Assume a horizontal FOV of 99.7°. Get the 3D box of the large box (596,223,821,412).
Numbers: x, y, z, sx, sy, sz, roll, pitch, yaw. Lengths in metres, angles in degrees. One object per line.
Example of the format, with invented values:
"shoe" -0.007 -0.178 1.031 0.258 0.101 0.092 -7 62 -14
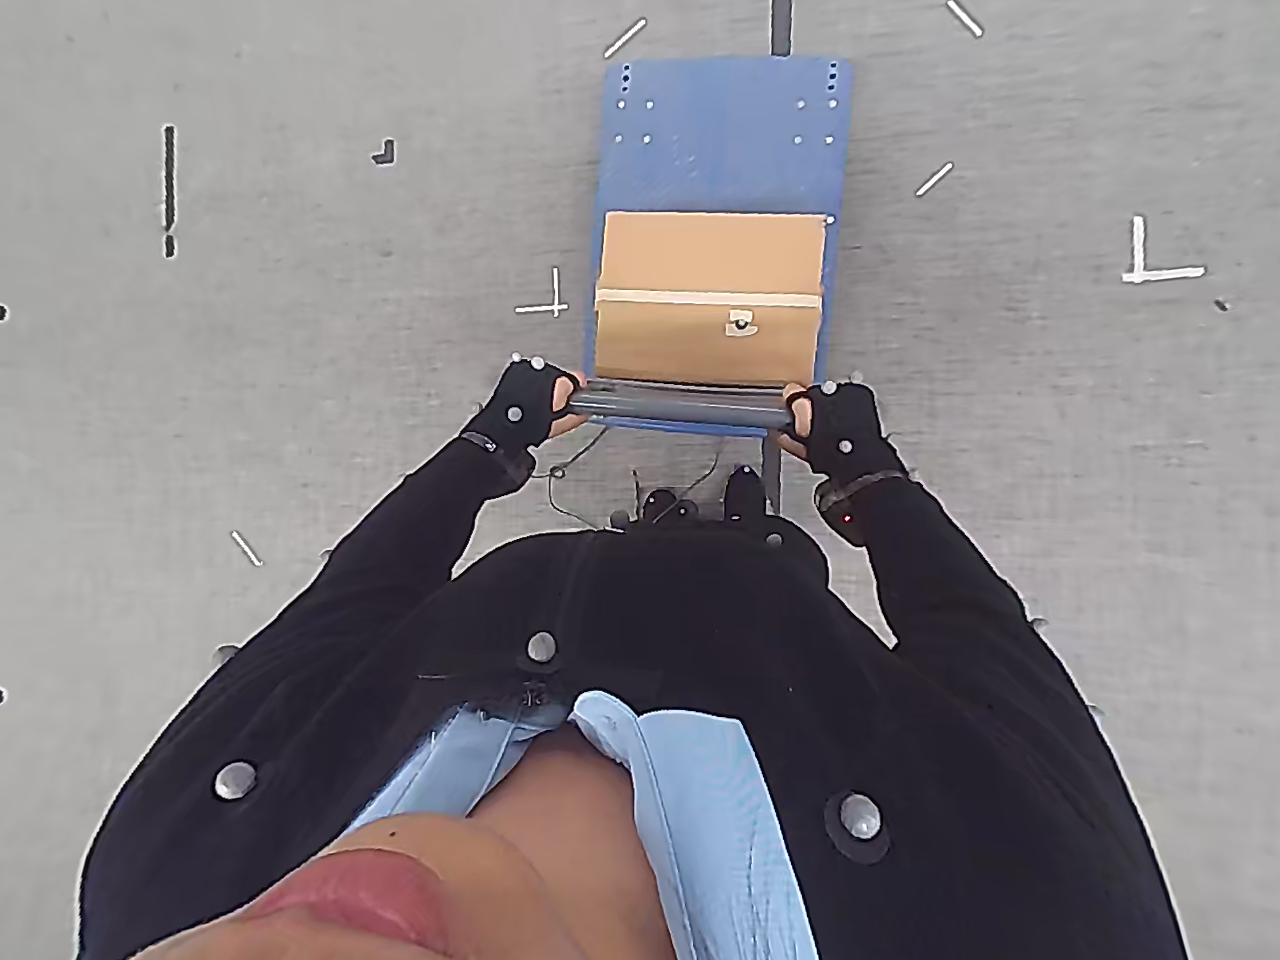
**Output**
"large box" 0.136 -0.319 1.141 0.408 0.320 0.320 4 93 7
